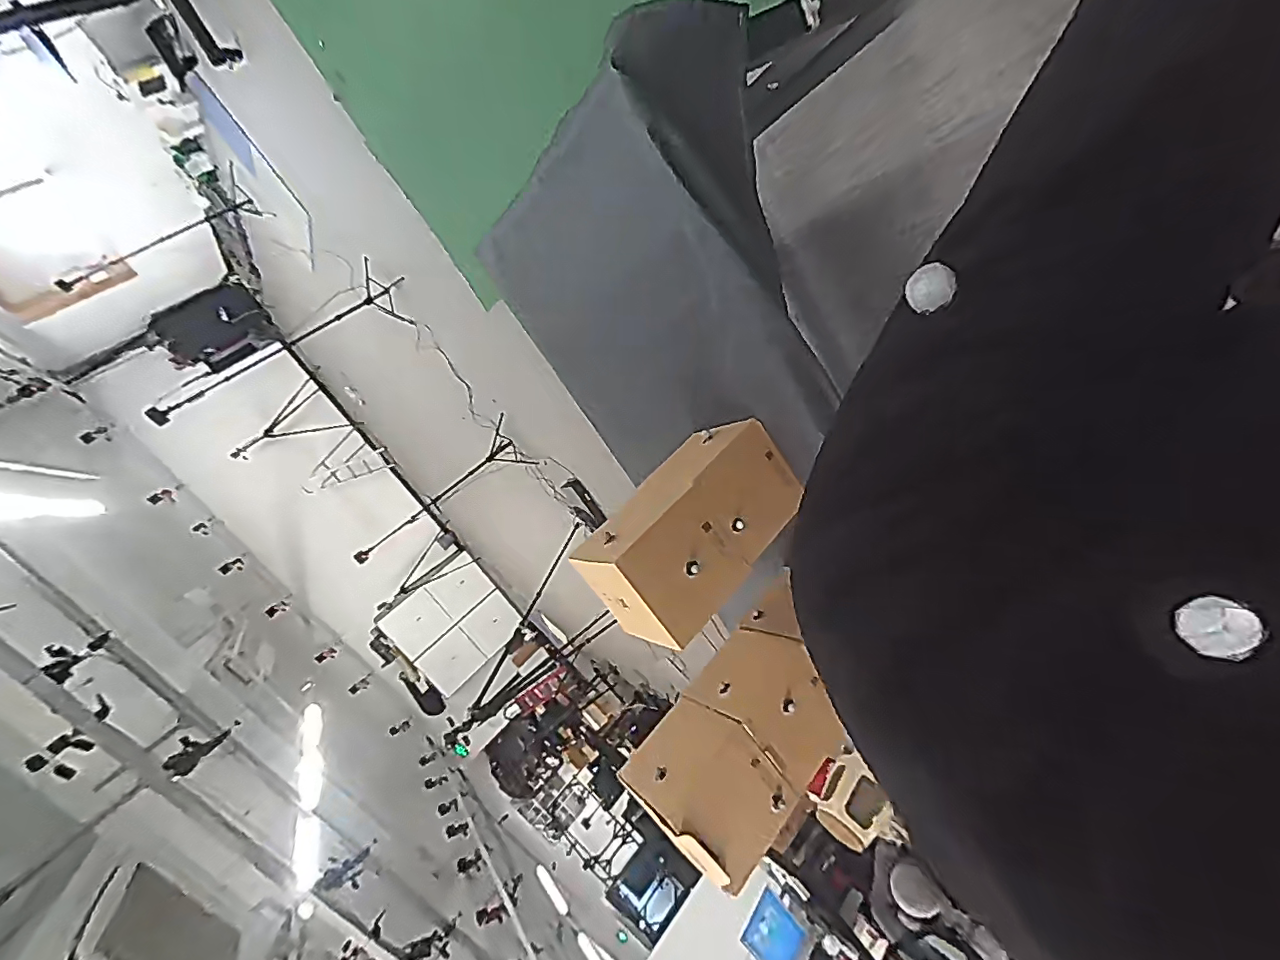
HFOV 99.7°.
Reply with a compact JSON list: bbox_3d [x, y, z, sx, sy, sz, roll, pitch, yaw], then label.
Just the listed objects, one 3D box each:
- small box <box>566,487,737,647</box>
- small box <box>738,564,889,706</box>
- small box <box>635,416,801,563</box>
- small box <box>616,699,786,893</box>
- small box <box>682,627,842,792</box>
[{"bbox_3d":[0.024,0.123,0.828,0.168,0.176,0.179,54,154,-14],"label":"small box"},{"bbox_3d":[0.319,0.268,0.979,0.168,0.176,0.179,54,154,-13],"label":"small box"},{"bbox_3d":[0.129,0.015,0.898,0.168,0.176,0.179,53,155,-14],"label":"small box"},{"bbox_3d":[0.100,0.471,0.841,0.168,0.176,0.179,53,155,-10],"label":"small box"},{"bbox_3d":[0.210,0.370,0.909,0.168,0.176,0.179,53,156,-11],"label":"small box"}]
